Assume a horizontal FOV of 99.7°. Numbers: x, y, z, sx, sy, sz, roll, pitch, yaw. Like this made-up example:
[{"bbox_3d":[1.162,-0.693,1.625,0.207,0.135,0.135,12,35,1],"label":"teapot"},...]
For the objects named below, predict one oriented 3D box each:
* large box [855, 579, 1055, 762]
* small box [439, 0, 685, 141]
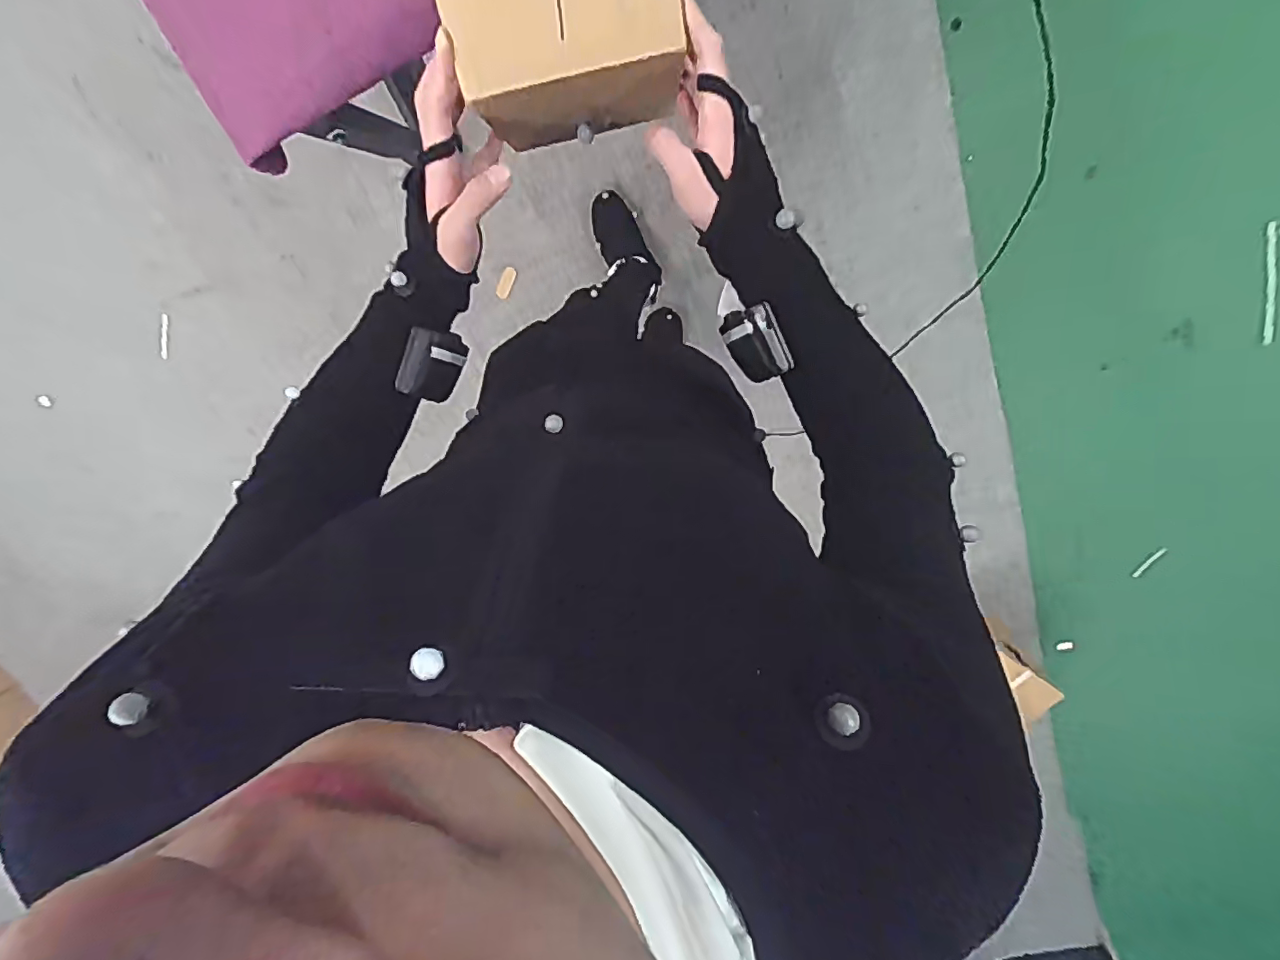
[{"bbox_3d":[0.985,0.608,1.750,0.320,0.320,0.408,32,111,-11],"label":"large box"},{"bbox_3d":[-0.063,-0.399,0.426,0.168,0.176,0.179,-10,111,5],"label":"small box"}]
